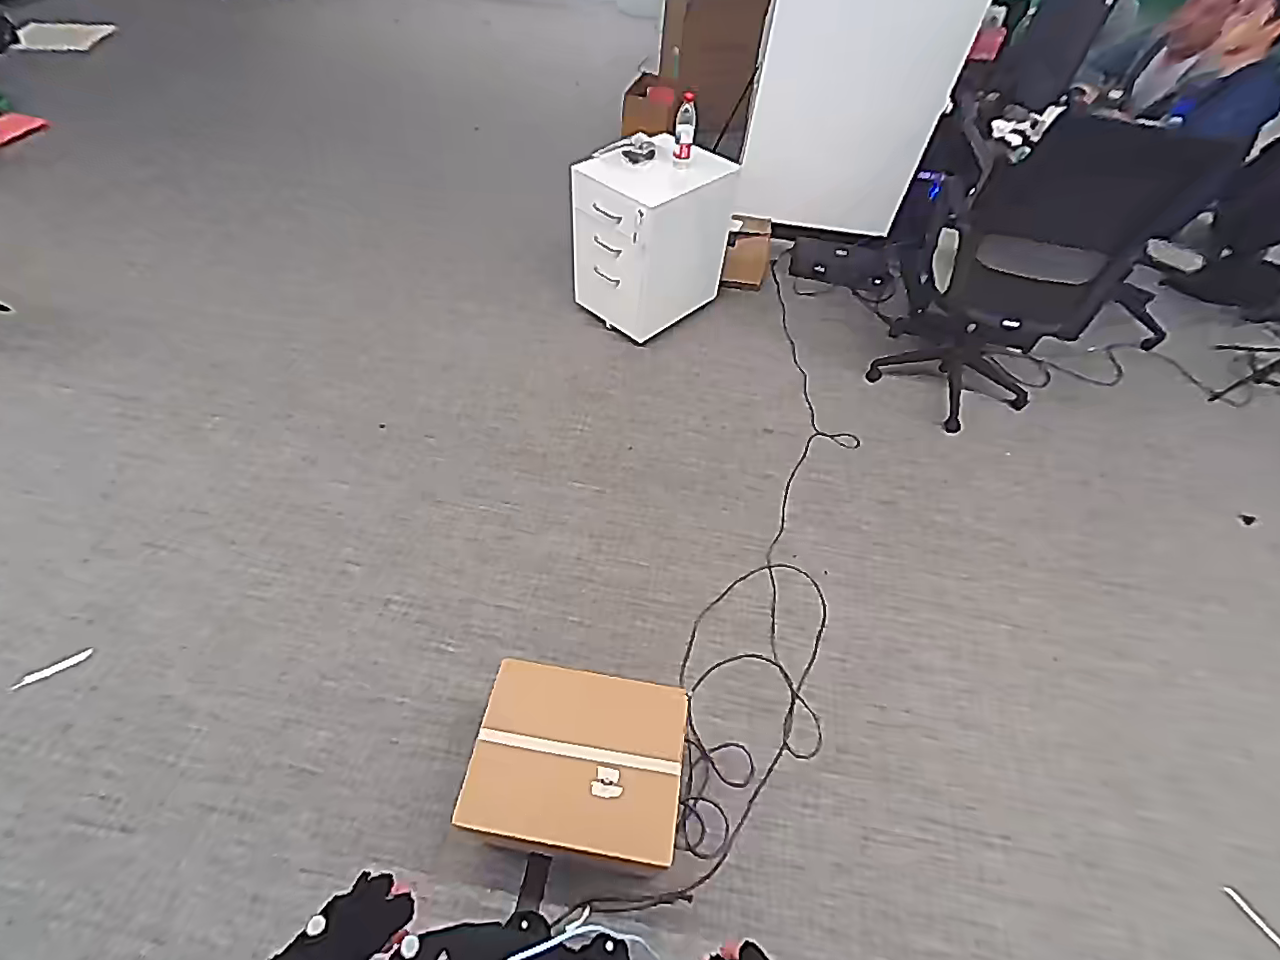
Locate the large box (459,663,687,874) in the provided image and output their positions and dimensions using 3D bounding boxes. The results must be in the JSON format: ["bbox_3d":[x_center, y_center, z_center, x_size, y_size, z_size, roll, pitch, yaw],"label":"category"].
[{"bbox_3d":[-0.126,0.632,1.181,0.408,0.320,0.320,9,52,3],"label":"large box"}]
